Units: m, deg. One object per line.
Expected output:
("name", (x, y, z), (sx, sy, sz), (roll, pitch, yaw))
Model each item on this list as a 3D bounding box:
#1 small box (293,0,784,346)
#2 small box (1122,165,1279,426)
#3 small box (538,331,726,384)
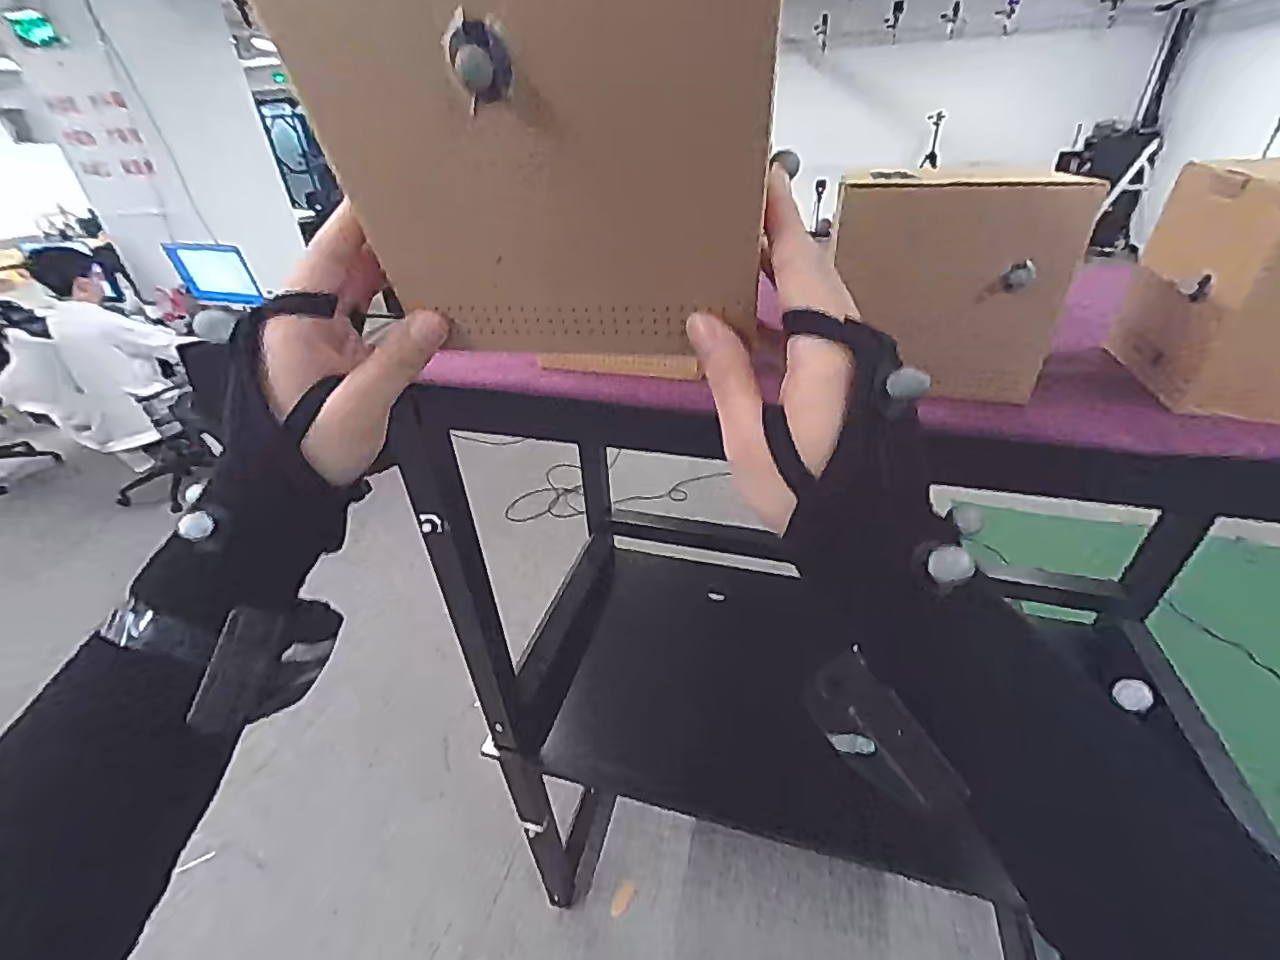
("small box", (-0.024, -0.182, 0.265), (0.179, 0.176, 0.168), (4, 52, 10))
("small box", (0.529, -0.144, 0.424), (0.179, 0.176, 0.168), (8, 36, 17))
("small box", (-0.001, -0.210, 0.569), (0.179, 0.176, 0.168), (8, 34, 16))
